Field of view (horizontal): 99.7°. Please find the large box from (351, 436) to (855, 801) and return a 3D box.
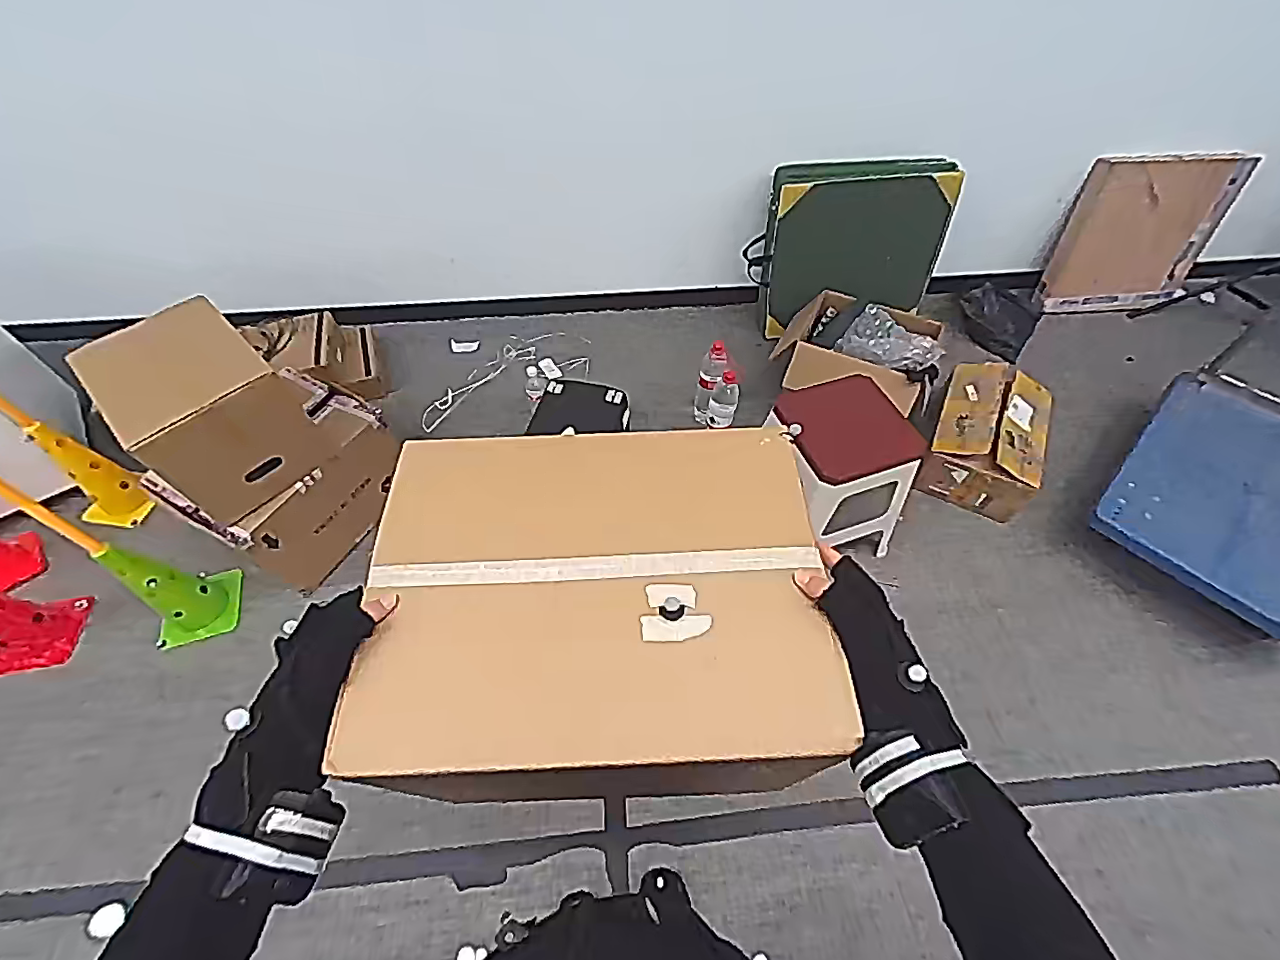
[{"bbox_3d":[-0.033,0.170,0.625,0.408,0.320,0.320,-2,56,-1],"label":"large box"}]
